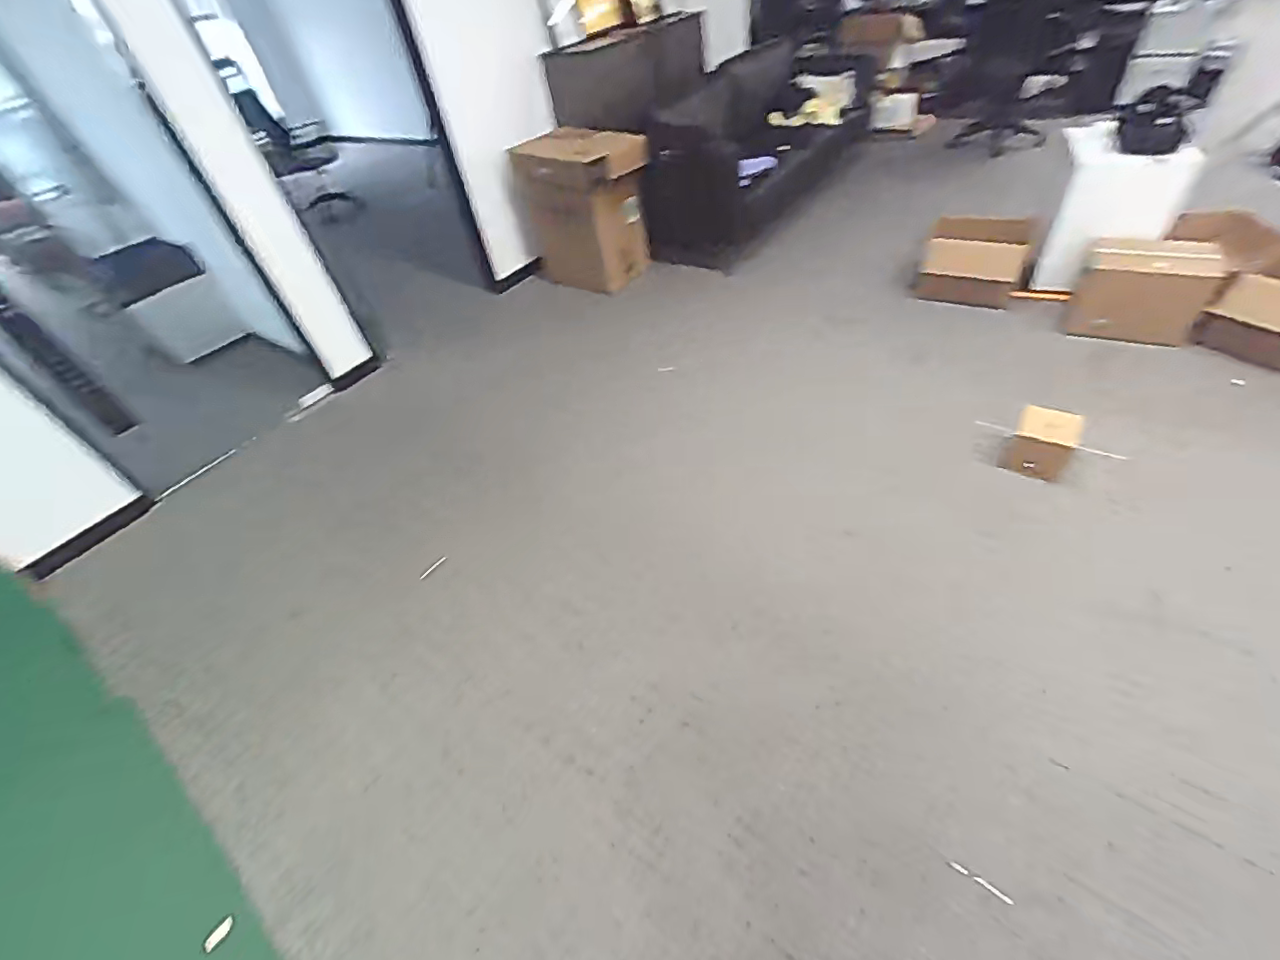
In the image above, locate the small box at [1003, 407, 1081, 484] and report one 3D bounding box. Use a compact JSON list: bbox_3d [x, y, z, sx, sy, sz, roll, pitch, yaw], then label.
[{"bbox_3d":[1.385,-0.120,1.869,0.168,0.176,0.179,21,53,30],"label":"small box"}]
